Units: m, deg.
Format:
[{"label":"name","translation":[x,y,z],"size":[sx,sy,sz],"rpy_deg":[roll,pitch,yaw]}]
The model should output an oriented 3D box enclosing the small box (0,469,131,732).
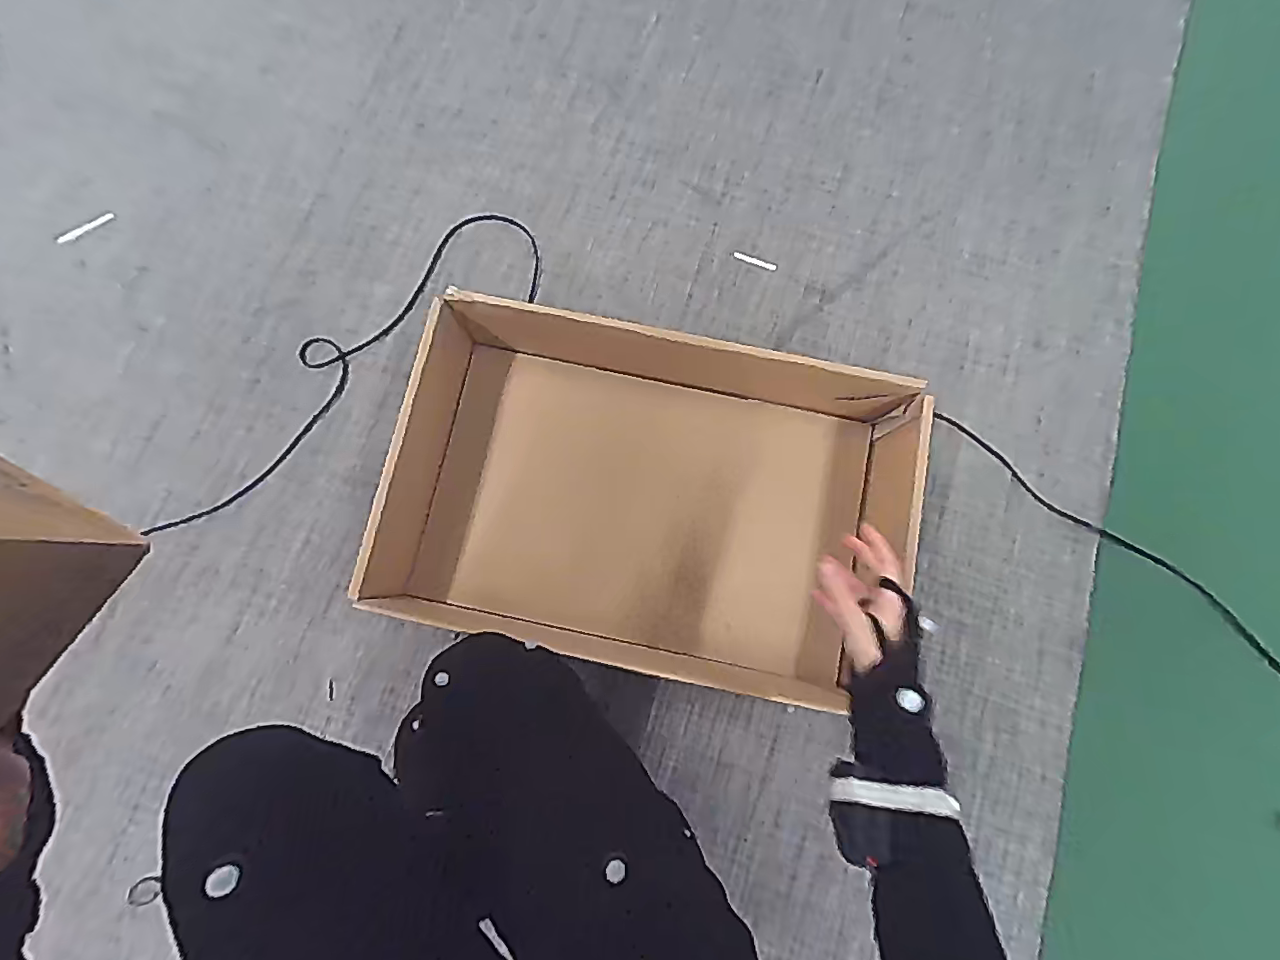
[{"label":"small box","translation":[-0.377,0.062,0.210],"size":[0.168,0.176,0.179],"rpy_deg":[32,75,-5]}]
